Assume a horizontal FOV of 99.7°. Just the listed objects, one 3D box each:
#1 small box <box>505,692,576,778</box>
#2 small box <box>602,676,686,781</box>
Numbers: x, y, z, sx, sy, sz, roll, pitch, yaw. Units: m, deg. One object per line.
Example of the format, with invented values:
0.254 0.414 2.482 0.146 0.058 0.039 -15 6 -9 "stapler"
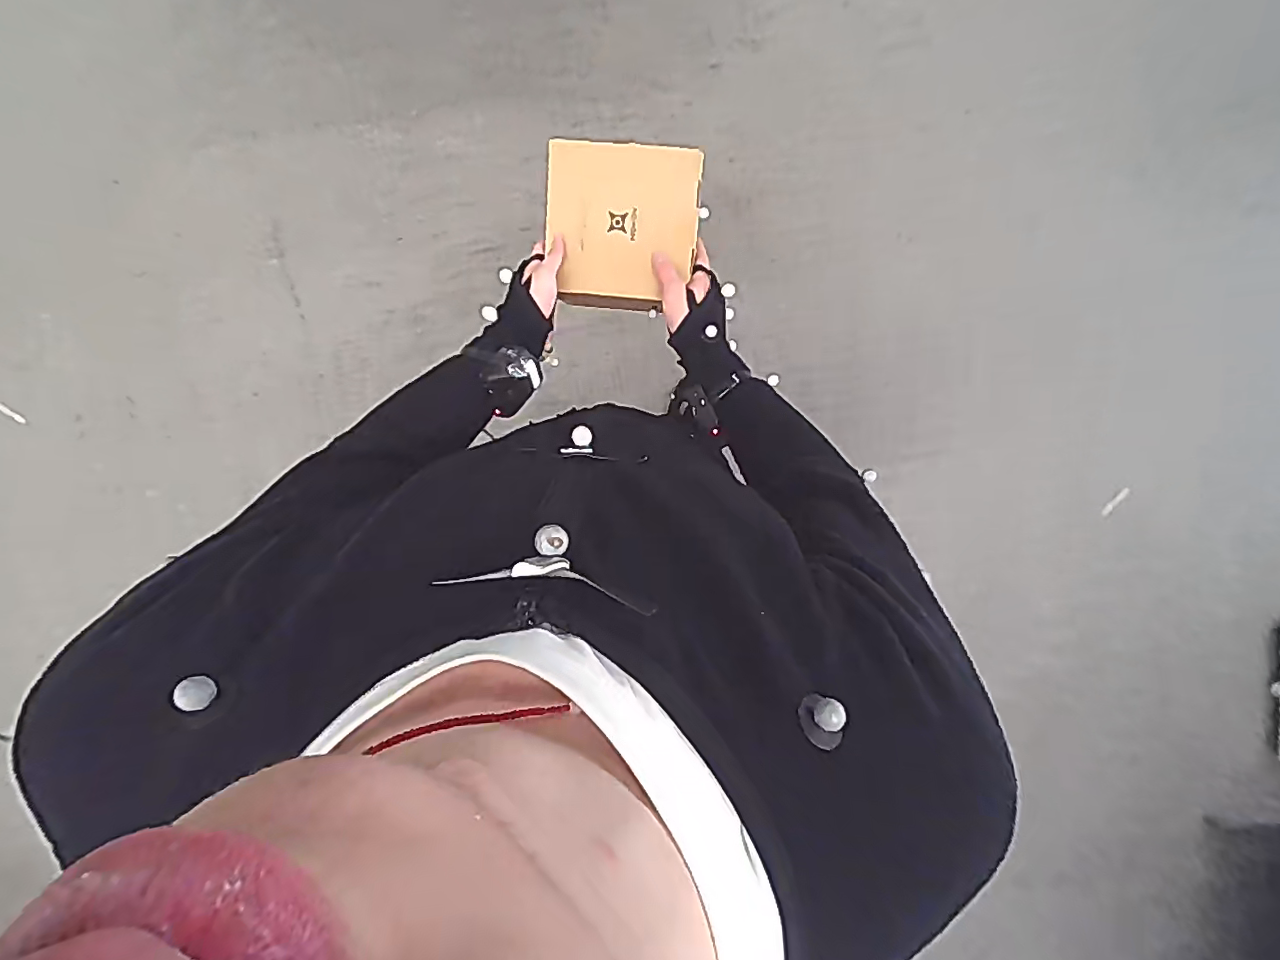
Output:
-0.278 0.726 1.552 0.179 0.176 0.168 -3 93 1 "small box"
0.008 0.697 1.540 0.179 0.176 0.168 -40 95 4 "small box"
